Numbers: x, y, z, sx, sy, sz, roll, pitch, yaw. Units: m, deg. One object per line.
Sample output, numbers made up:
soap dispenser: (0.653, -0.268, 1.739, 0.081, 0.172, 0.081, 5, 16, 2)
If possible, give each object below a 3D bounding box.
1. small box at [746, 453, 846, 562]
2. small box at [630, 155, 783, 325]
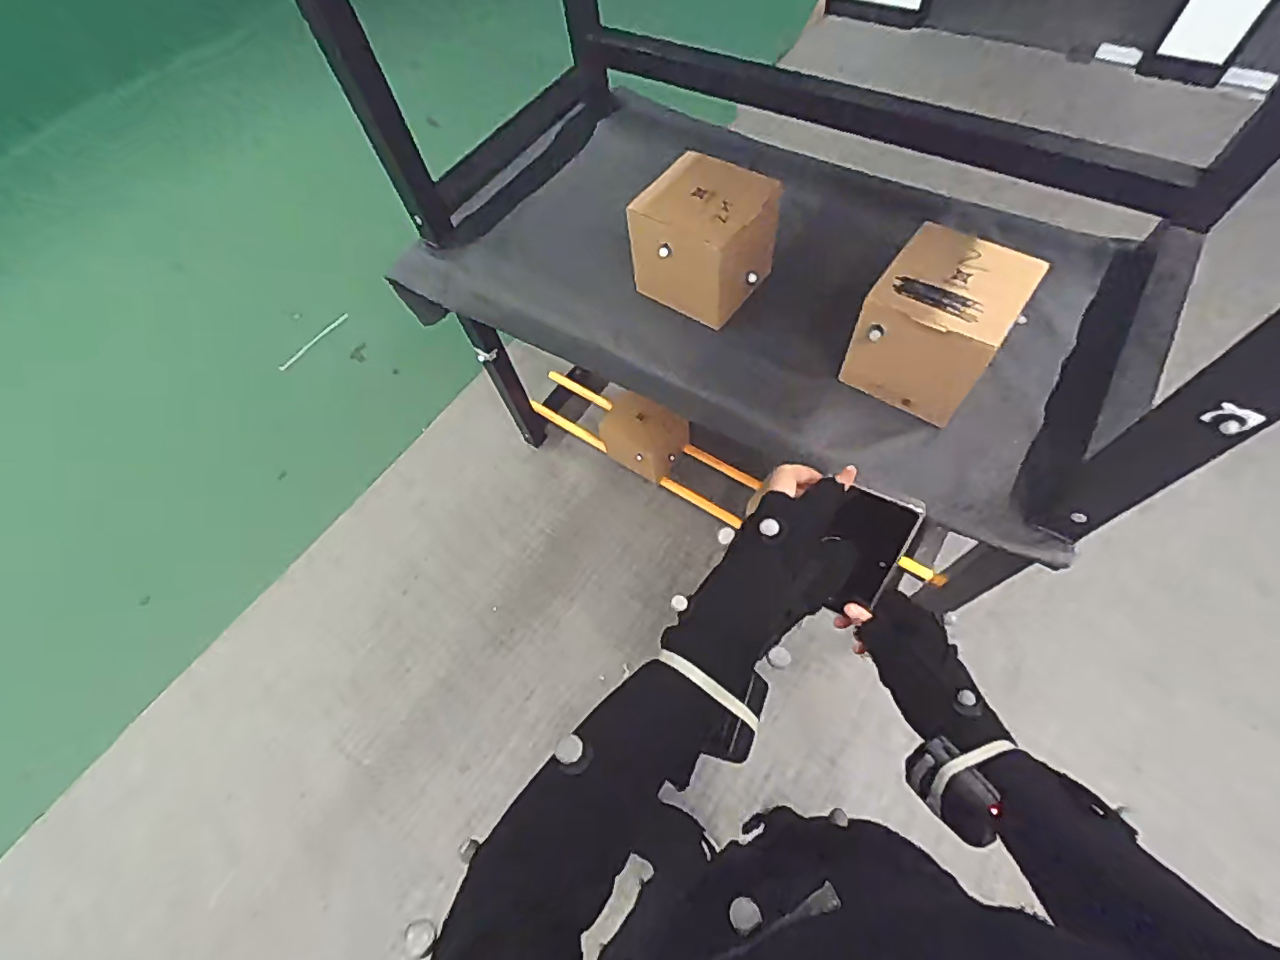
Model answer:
small box: (0.373, 0.073, 1.324, 0.168, 0.176, 0.179, 34, 71, 21)
small box: (0.107, -0.387, 0.887, 0.179, 0.176, 0.168, 33, 70, 21)
